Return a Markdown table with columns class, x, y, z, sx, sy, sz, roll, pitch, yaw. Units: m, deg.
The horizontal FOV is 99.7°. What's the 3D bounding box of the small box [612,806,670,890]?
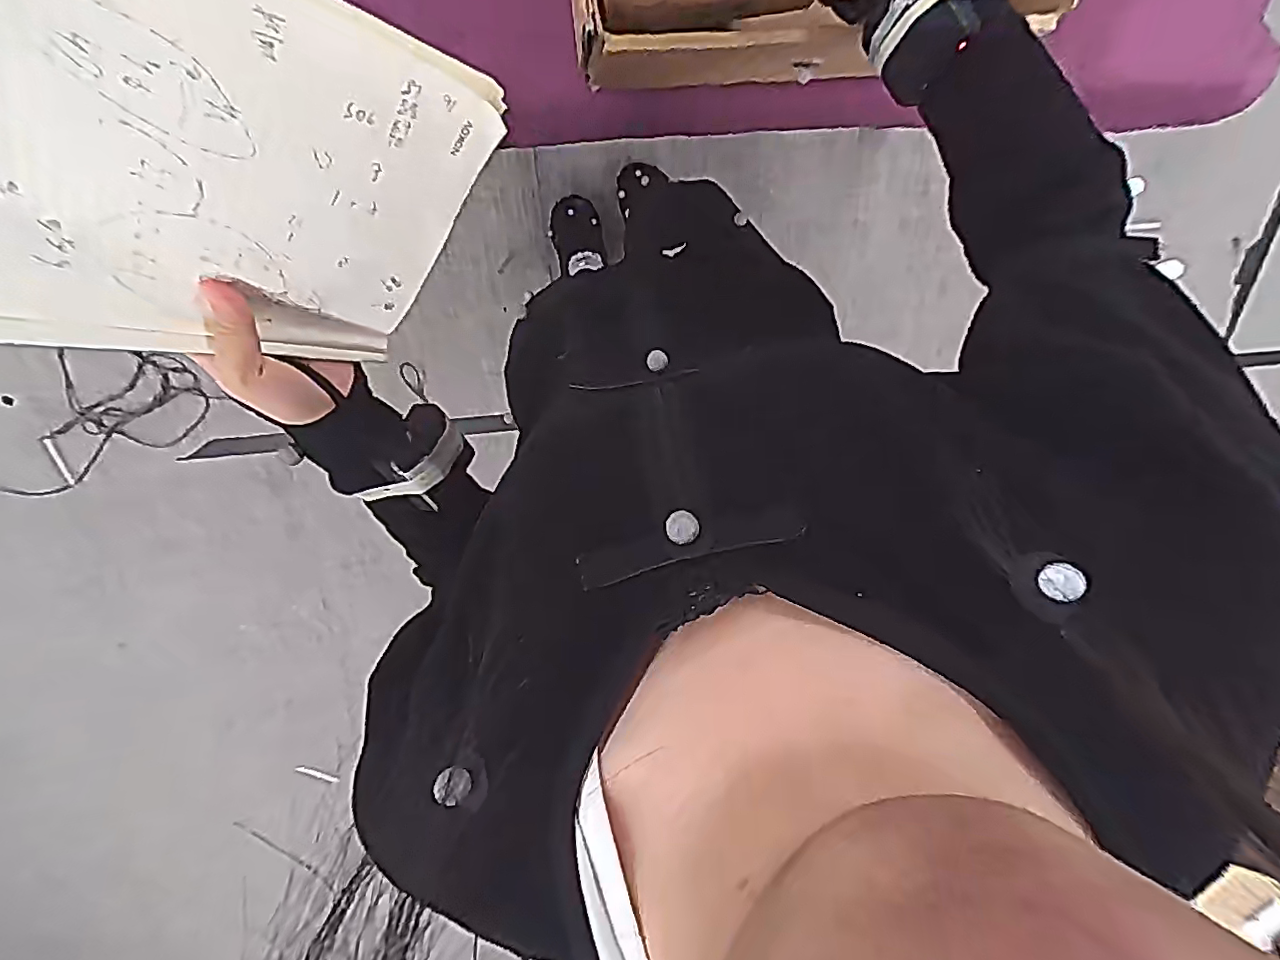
| class | x | y | z | sx | sy | sz | roll | pitch | yaw |
| --- | --- | --- | --- | --- | --- | --- | --- | --- | --- |
| small box | 0.001 | 1.232 | 1.824 | 0.168 | 0.176 | 0.179 | -9 | 119 | -4 |
